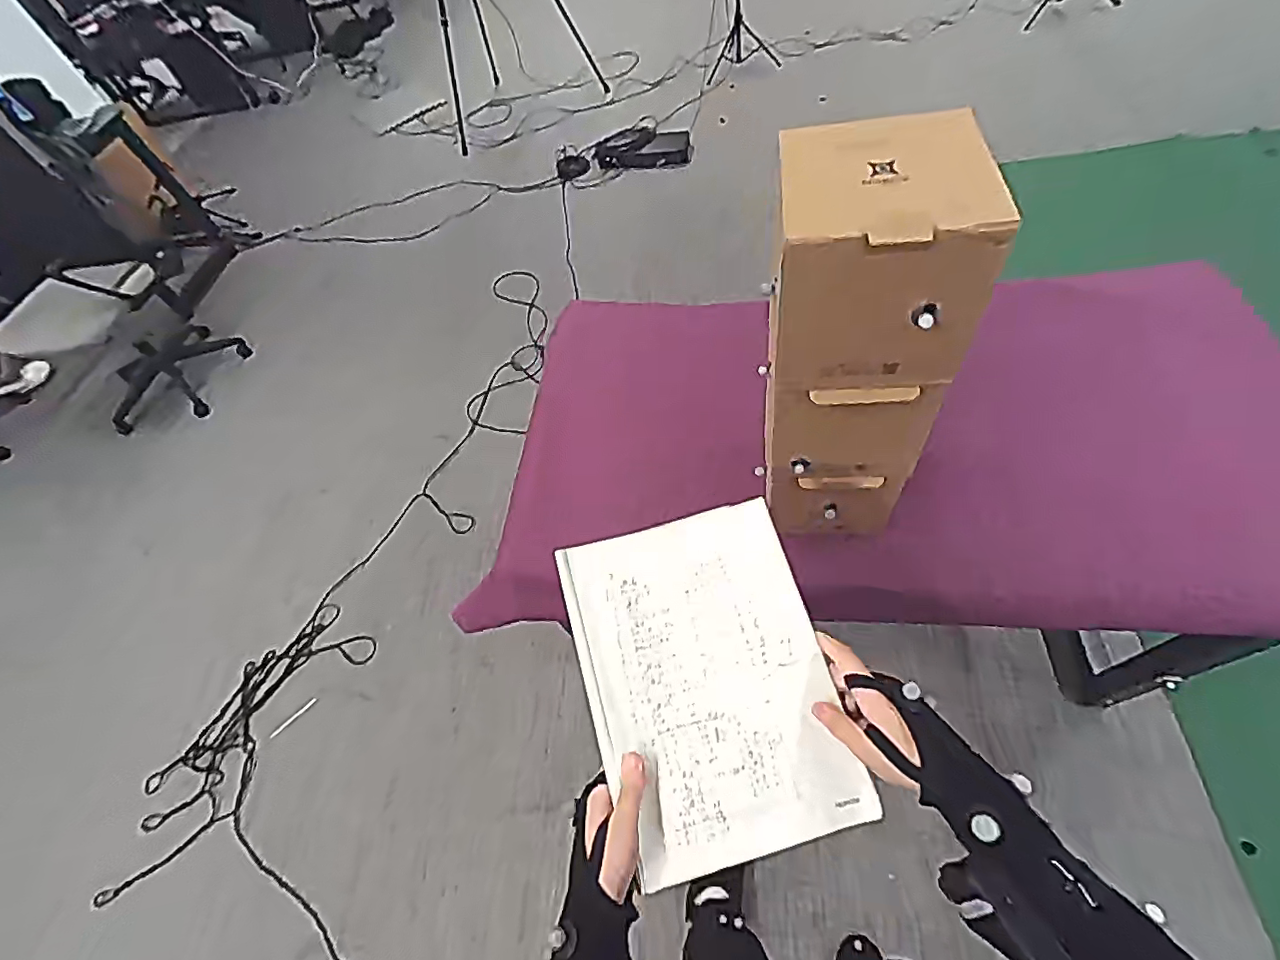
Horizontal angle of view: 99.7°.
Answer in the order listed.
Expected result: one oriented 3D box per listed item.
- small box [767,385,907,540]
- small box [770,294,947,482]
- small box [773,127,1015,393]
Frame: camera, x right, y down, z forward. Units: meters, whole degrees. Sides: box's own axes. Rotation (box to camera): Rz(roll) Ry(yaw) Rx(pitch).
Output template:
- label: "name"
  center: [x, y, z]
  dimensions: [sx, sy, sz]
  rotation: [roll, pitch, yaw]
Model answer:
- label: "small box"
  center: [0.273, -0.024, 0.788]
  dimensions: [0.168, 0.176, 0.179]
  rotation: [0, 57, 11]
- label: "small box"
  center: [0.244, -0.110, 0.650]
  dimensions: [0.168, 0.176, 0.179]
  rotation: [0, 55, 12]
- label: "small box"
  center: [0.216, -0.196, 0.515]
  dimensions: [0.168, 0.176, 0.179]
  rotation: [1, 56, 12]
